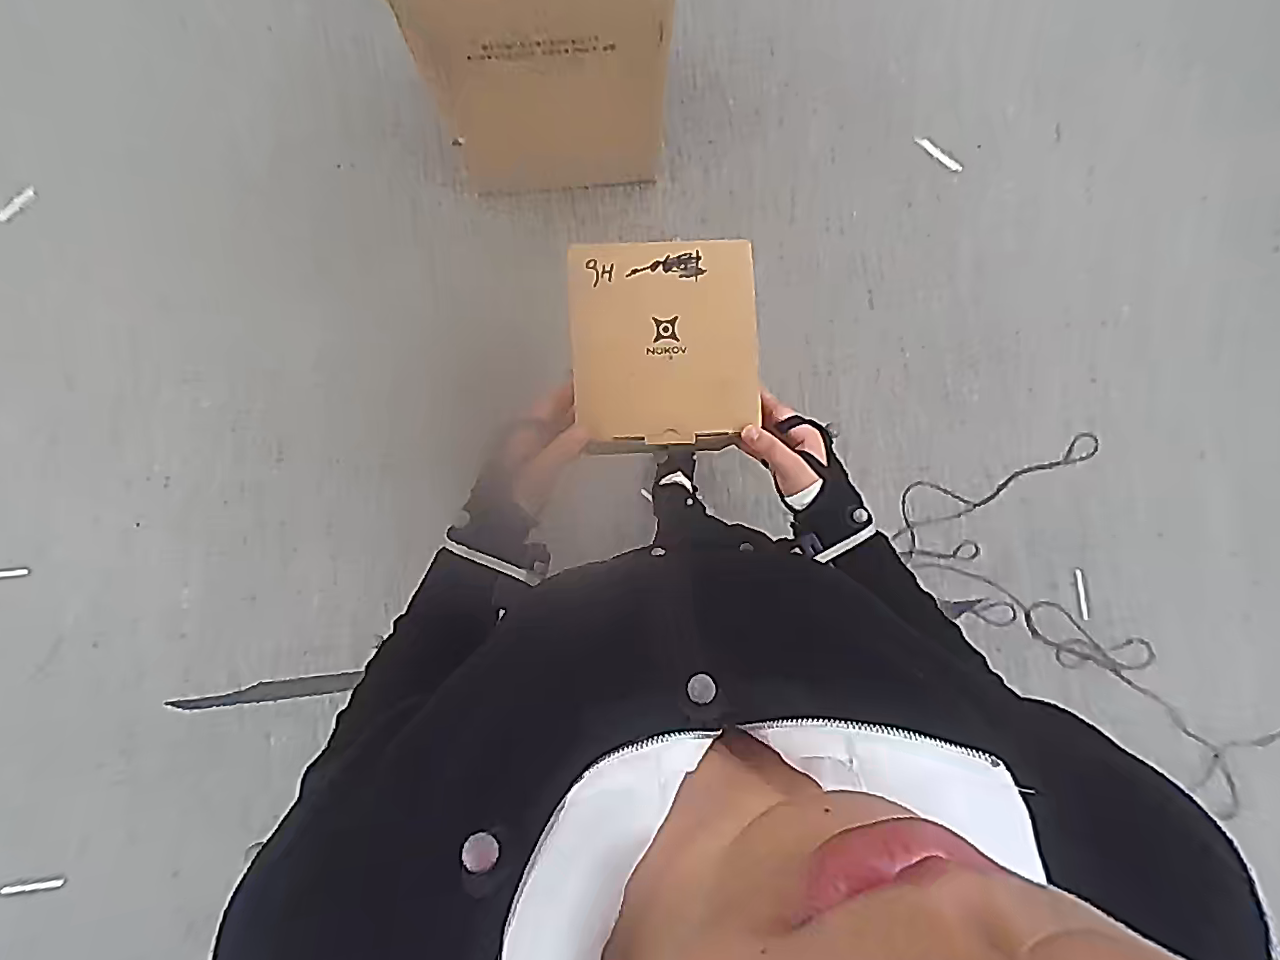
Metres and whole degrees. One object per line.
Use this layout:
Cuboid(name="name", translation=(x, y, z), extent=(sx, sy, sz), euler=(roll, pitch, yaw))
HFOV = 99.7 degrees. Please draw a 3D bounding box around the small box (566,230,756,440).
Cuboid(name="small box", translation=(0.016, -0.133, 0.558), extent=(0.168, 0.176, 0.179), euler=(-3, 90, -3))
